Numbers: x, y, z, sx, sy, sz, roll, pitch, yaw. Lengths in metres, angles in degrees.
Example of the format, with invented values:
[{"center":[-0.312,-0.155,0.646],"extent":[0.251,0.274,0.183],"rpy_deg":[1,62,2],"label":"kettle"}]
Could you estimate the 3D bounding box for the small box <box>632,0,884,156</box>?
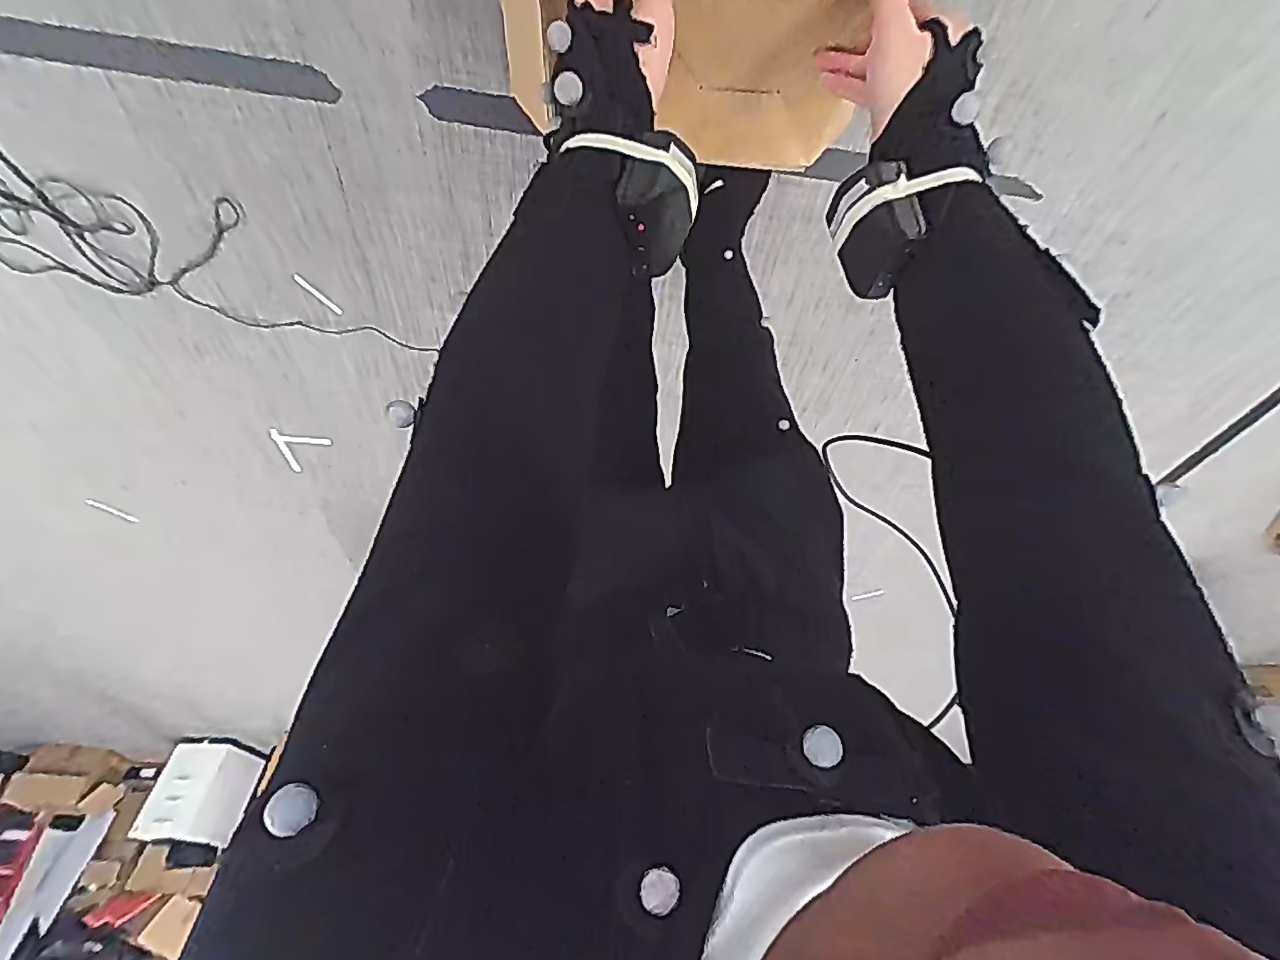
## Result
[{"center":[0.084,-0.381,0.424],"extent":[0.168,0.176,0.179],"rpy_deg":[5,179,1],"label":"small box"}]
